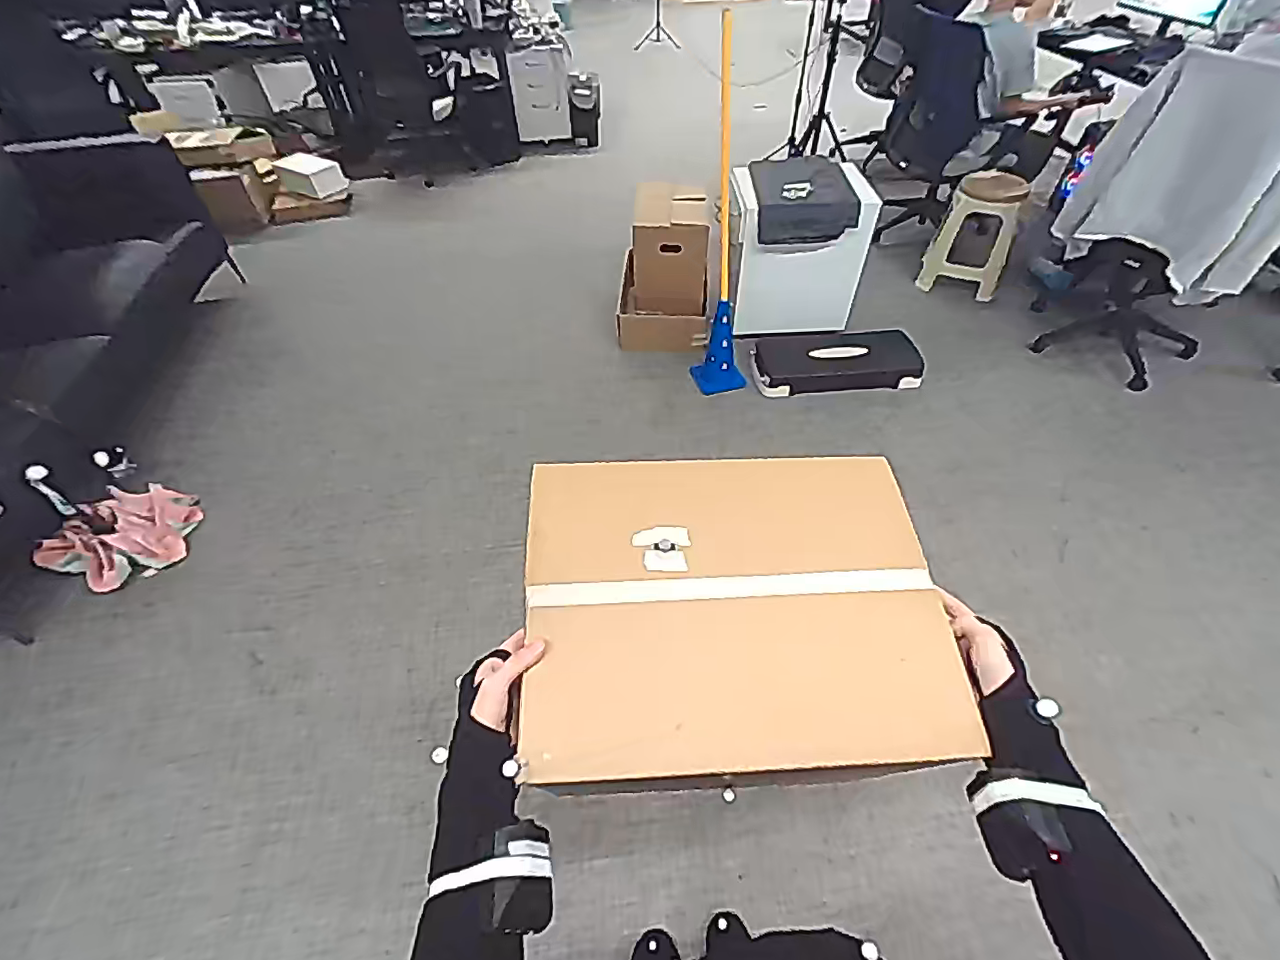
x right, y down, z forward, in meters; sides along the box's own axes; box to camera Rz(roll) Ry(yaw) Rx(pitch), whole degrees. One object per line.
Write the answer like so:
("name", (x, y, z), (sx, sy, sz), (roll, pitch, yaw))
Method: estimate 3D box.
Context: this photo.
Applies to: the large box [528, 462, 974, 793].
("large box", (0.091, 0.196, 0.673), (0.408, 0.320, 0.320), (-2, 57, -2))
